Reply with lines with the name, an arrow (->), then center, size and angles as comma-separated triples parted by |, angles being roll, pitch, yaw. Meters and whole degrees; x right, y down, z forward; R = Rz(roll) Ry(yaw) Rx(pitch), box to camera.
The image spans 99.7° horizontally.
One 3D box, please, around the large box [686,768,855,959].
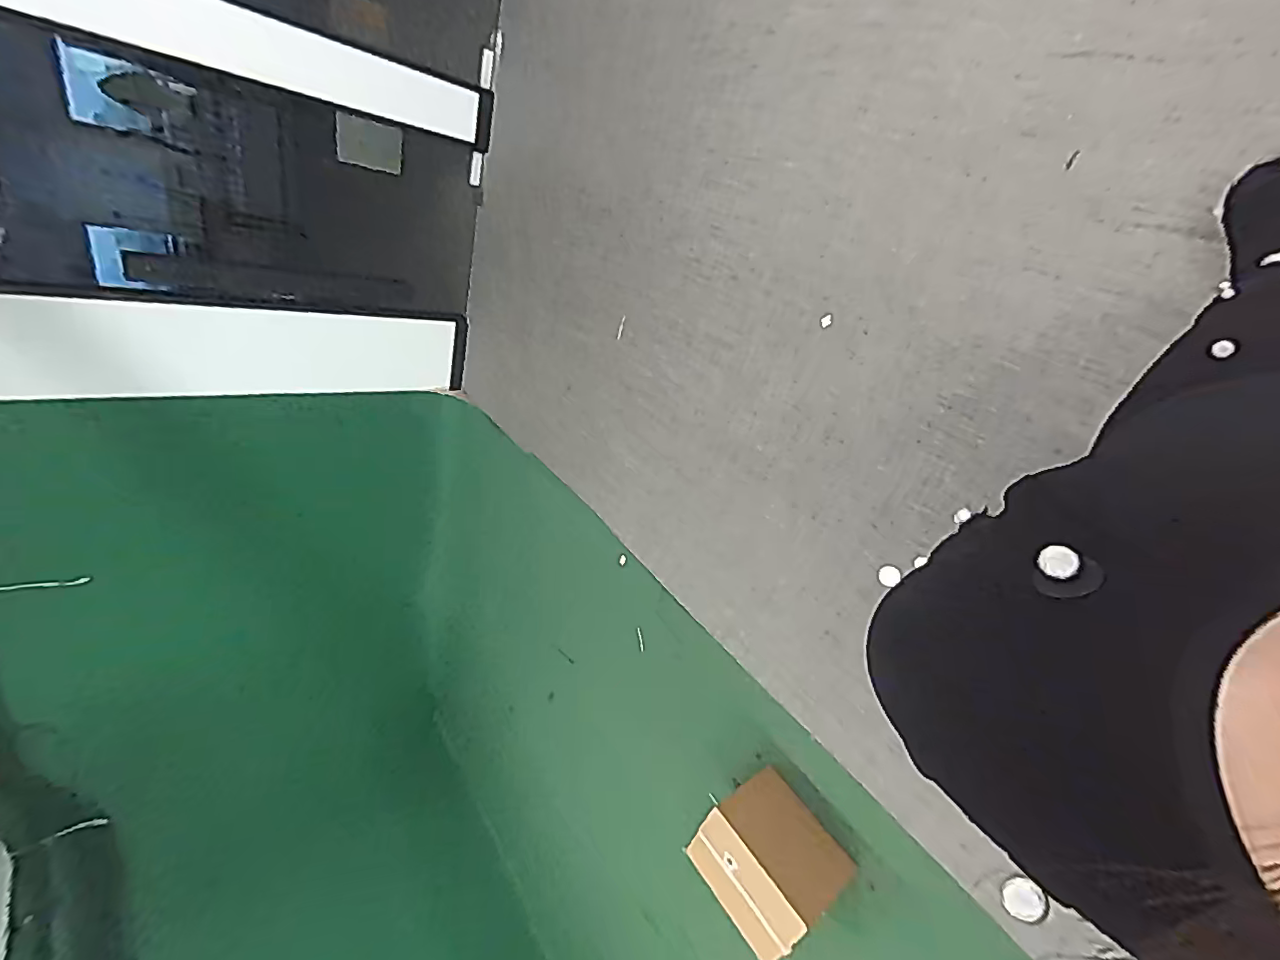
large box -> 0.434, 1.298, 1.841 | 0.408, 0.320, 0.320 | 44, 127, 36
